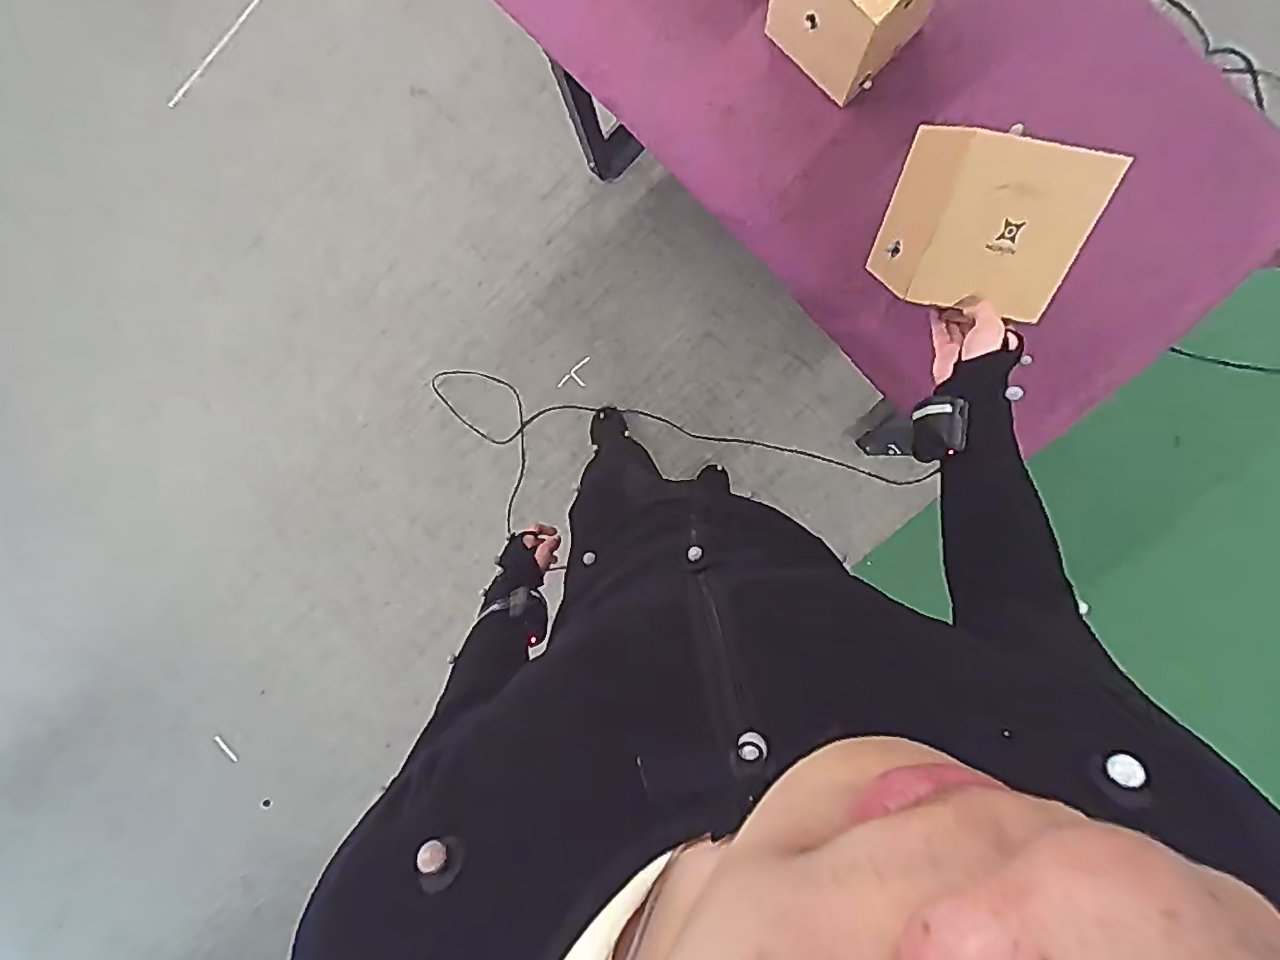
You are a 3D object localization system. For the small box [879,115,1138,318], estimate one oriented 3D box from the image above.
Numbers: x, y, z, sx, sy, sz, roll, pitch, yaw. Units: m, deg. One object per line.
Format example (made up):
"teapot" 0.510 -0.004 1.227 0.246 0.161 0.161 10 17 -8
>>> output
"small box" 0.410 -0.319 0.647 0.168 0.176 0.179 11 124 -1

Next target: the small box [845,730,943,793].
"small box" 0.713 0.841 1.526 0.168 0.176 0.179 -44 89 6

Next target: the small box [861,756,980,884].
"small box" 0.695 0.845 1.363 0.179 0.176 0.168 -44 88 7

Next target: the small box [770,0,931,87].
"small box" 0.303 -0.697 0.747 0.168 0.176 0.179 -45 87 7
